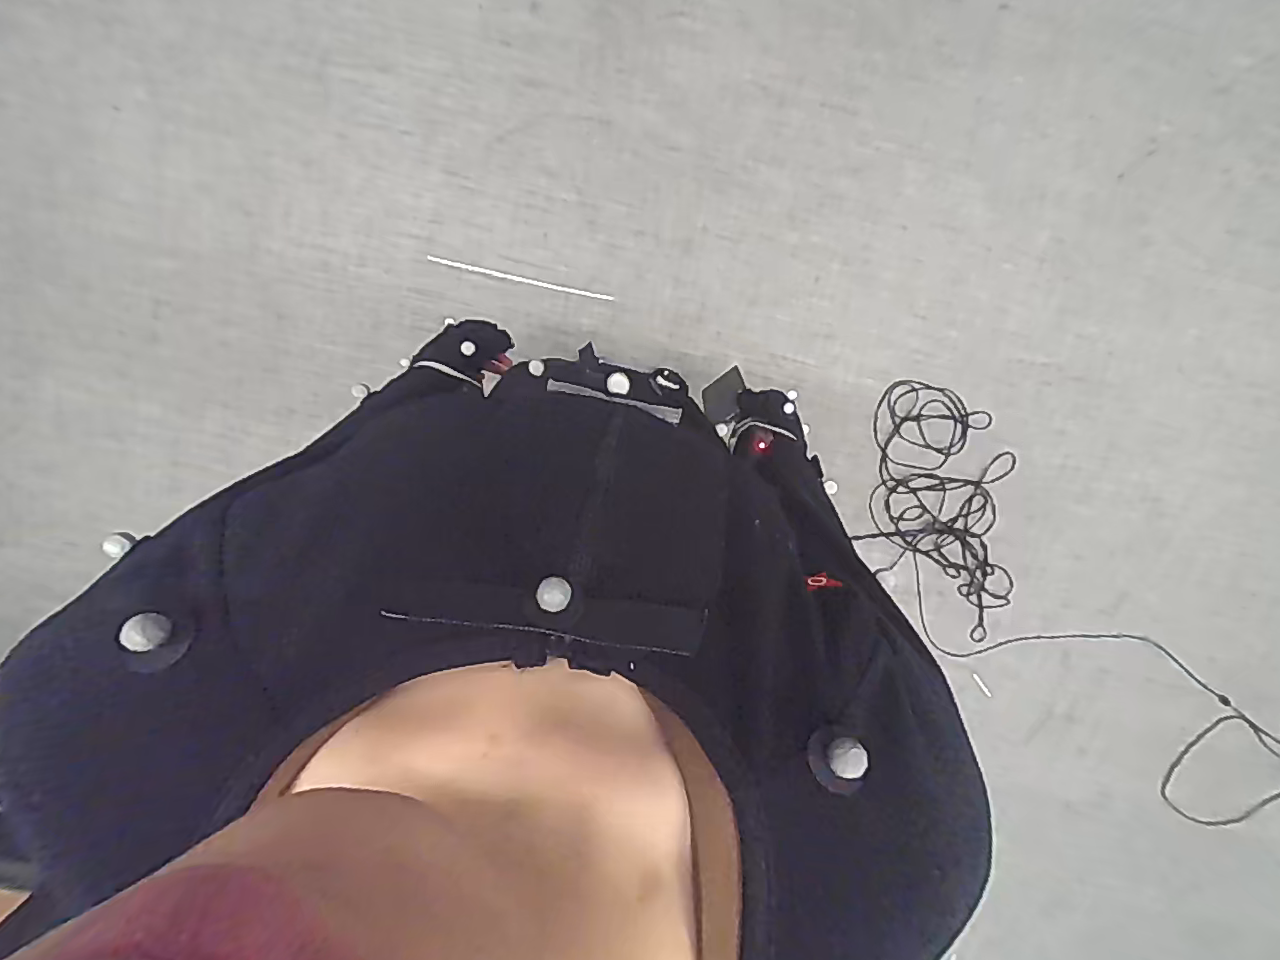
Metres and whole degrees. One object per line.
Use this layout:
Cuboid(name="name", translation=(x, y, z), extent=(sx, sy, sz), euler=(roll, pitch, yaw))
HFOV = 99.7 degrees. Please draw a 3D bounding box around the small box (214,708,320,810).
Cuboid(name="small box", translation=(-1.007, 0.751, 1.473), extent=(0.179, 0.176, 0.168), euler=(15, 102, -4))
